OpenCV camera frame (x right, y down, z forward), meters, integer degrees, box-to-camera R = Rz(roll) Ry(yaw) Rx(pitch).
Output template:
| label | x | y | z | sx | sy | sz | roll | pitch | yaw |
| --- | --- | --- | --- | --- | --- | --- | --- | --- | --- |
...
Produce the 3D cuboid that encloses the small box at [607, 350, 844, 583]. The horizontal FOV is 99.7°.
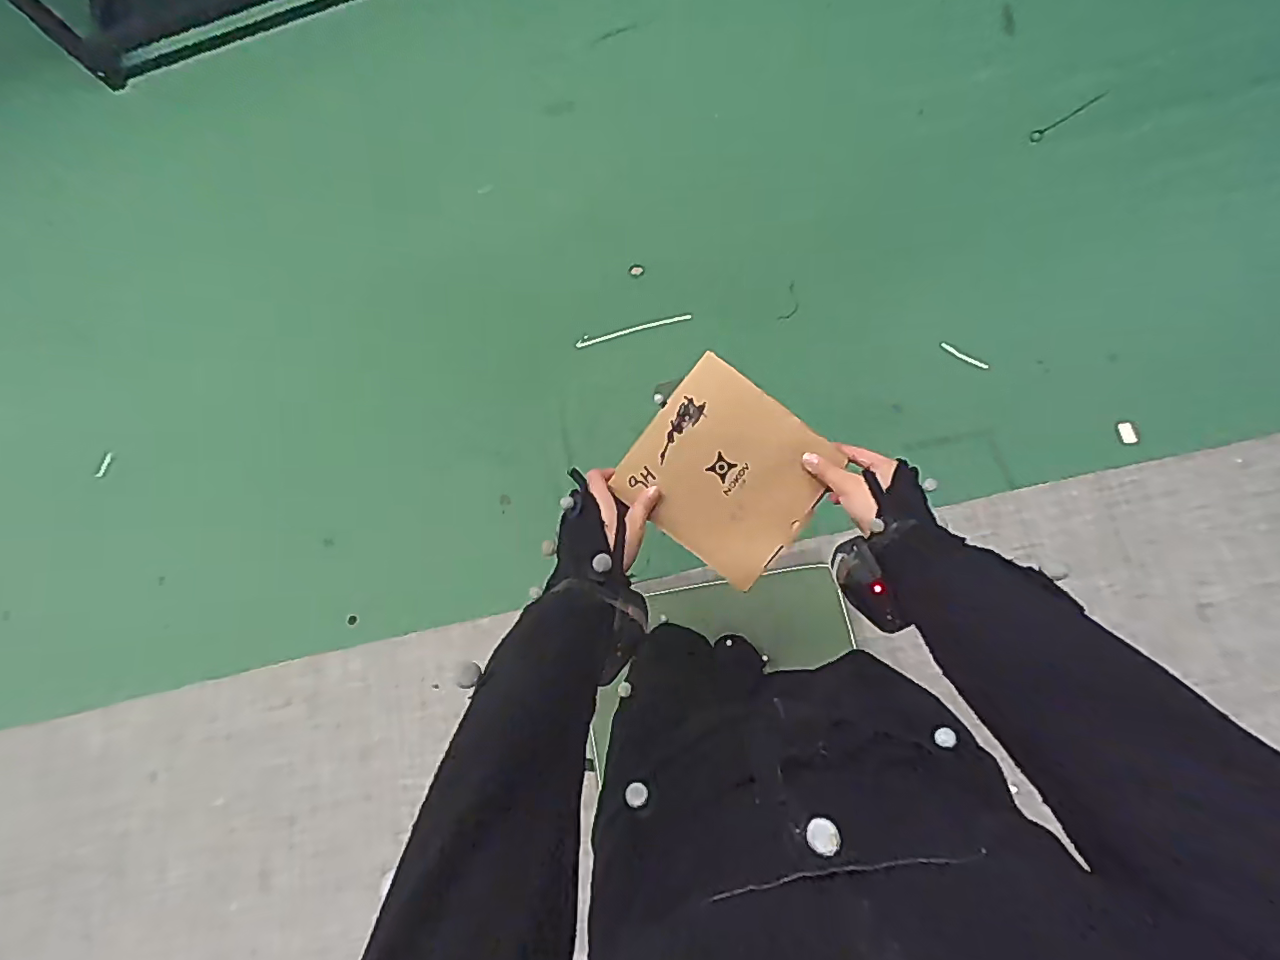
| label | x | y | z | sx | sy | sz | roll | pitch | yaw |
| --- | --- | --- | --- | --- | --- | --- | --- | --- | --- |
| small box | 0.083 | -0.018 | 0.604 | 0.179 | 0.176 | 0.168 | 37 | 93 | -3 |
